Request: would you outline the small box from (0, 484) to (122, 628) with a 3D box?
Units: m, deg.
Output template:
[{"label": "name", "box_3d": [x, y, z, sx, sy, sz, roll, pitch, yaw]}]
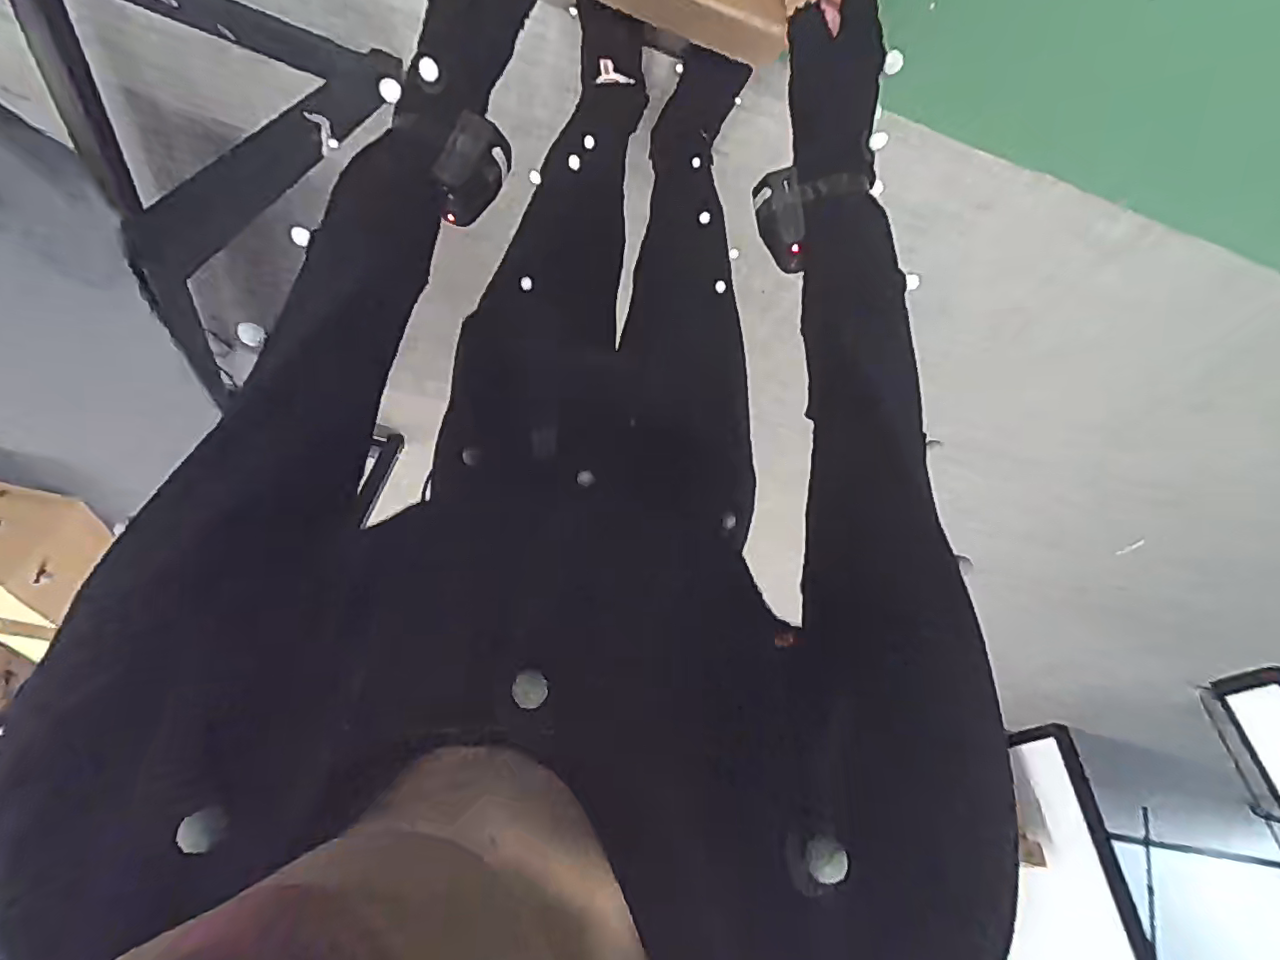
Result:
[{"label": "small box", "box_3d": [-1.047, 0.125, 0.910, 0.168, 0.176, 0.179, 15, 141, -10]}]
